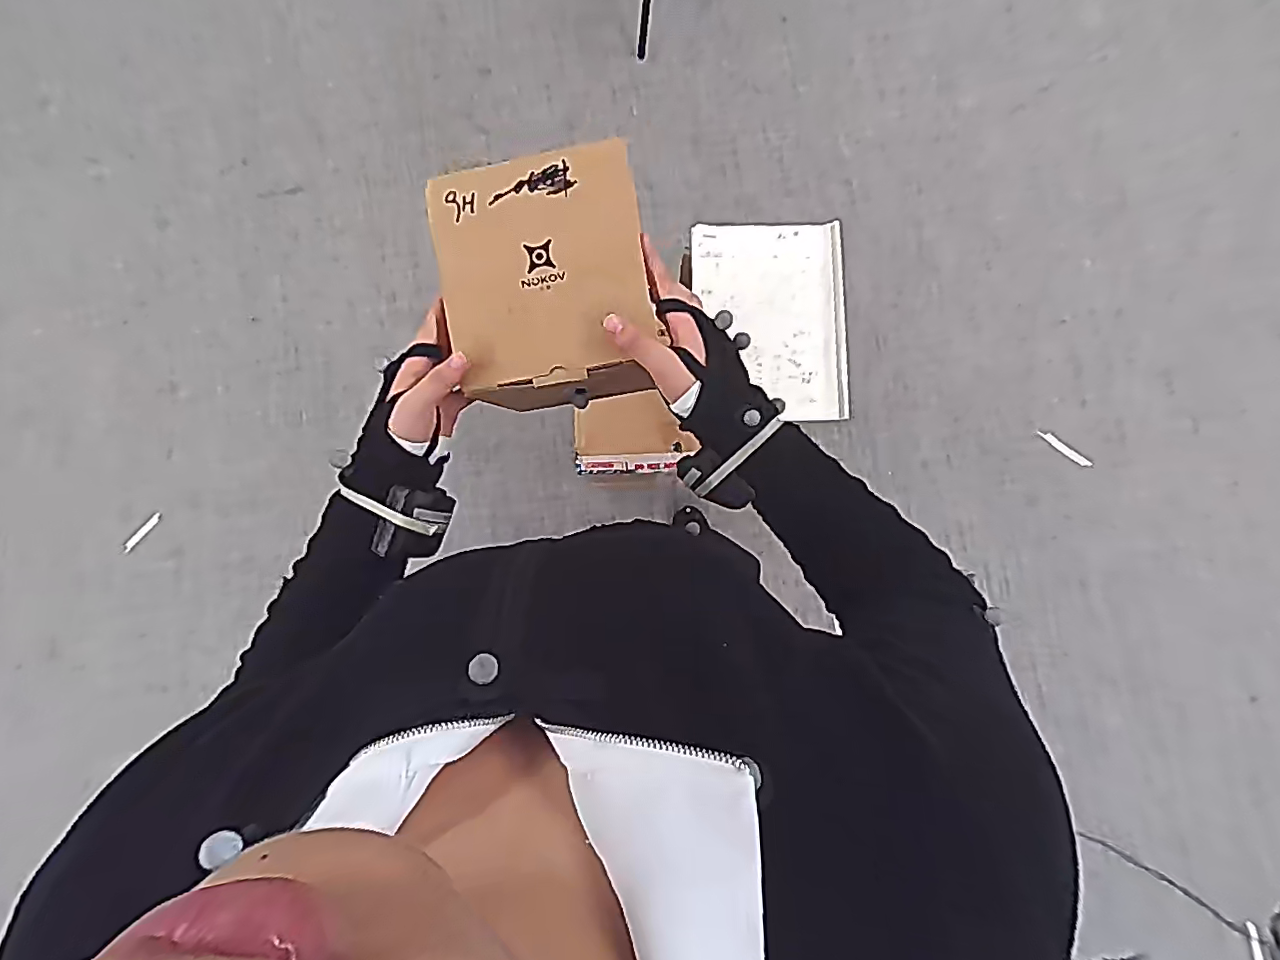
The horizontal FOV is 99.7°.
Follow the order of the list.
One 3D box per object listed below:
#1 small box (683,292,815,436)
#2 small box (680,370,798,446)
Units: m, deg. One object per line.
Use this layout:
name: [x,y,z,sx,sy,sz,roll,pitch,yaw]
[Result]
small box: [0.155,-0.166,0.818,0.168,0.176,0.179,-1,87,-1]
small box: [0.172,-0.157,0.983,0.179,0.176,0.168,-5,86,0]
